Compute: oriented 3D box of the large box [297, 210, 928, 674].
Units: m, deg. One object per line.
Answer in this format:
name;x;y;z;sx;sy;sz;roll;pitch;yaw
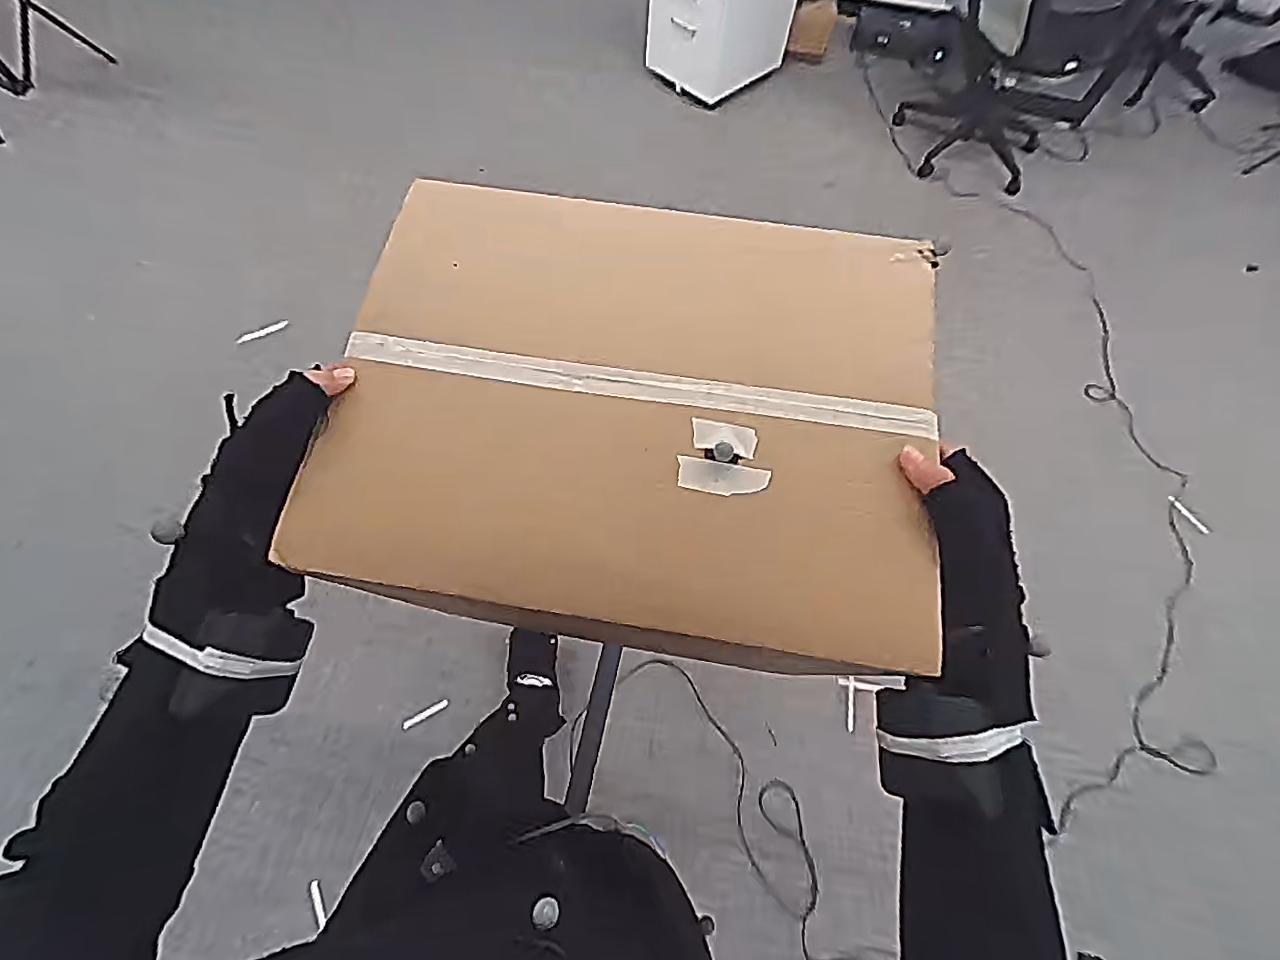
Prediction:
large box;-0.003;-0.003;0.521;0.408;0.320;0.320;9;72;3
